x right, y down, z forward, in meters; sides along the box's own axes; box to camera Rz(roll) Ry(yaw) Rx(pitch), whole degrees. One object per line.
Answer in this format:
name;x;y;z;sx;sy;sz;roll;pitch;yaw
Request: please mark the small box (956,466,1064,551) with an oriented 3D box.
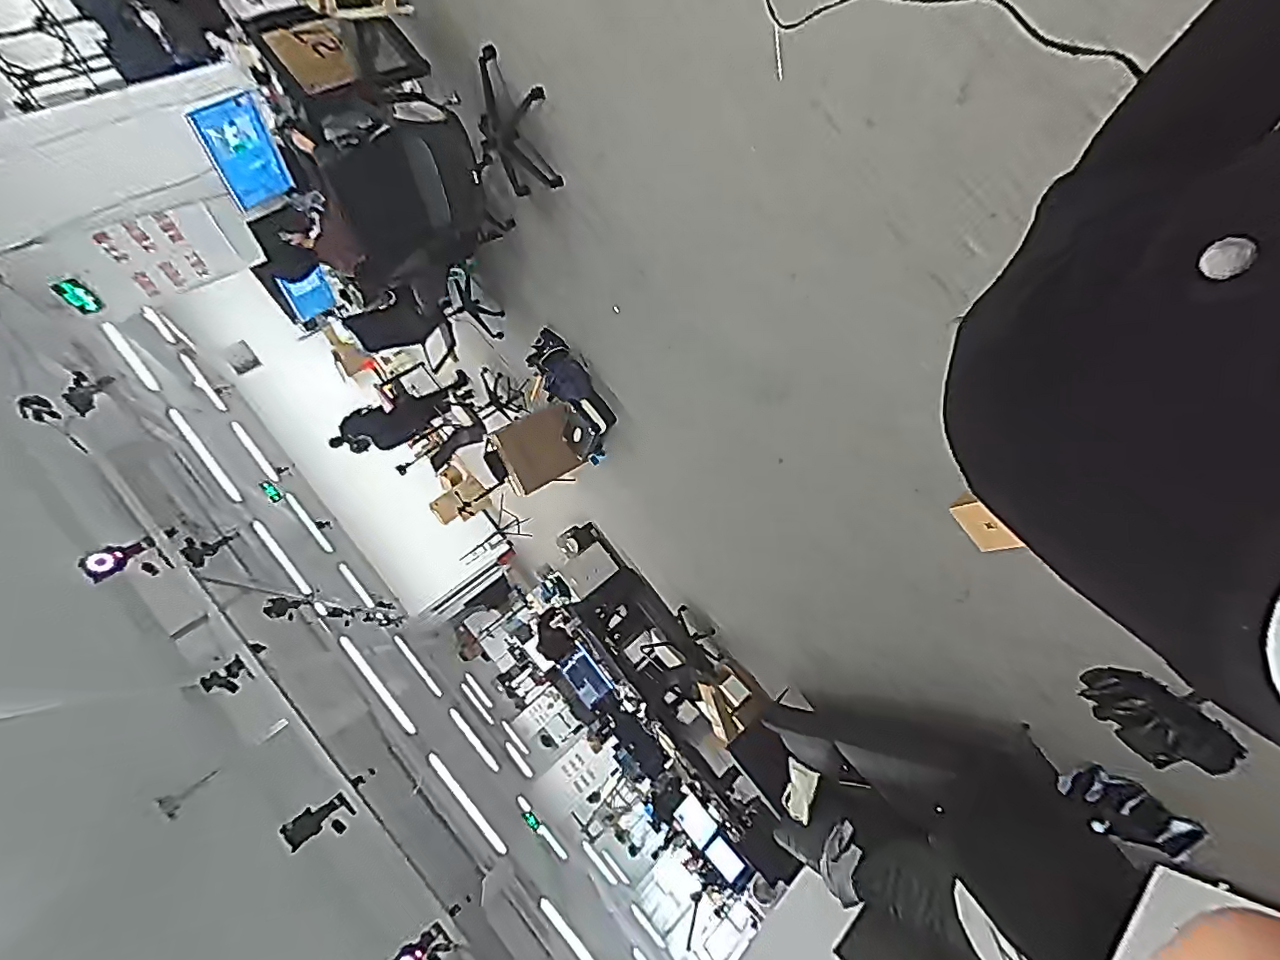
small box;1.078;0.082;1.567;0.168;0.176;0.179;51;160;2
